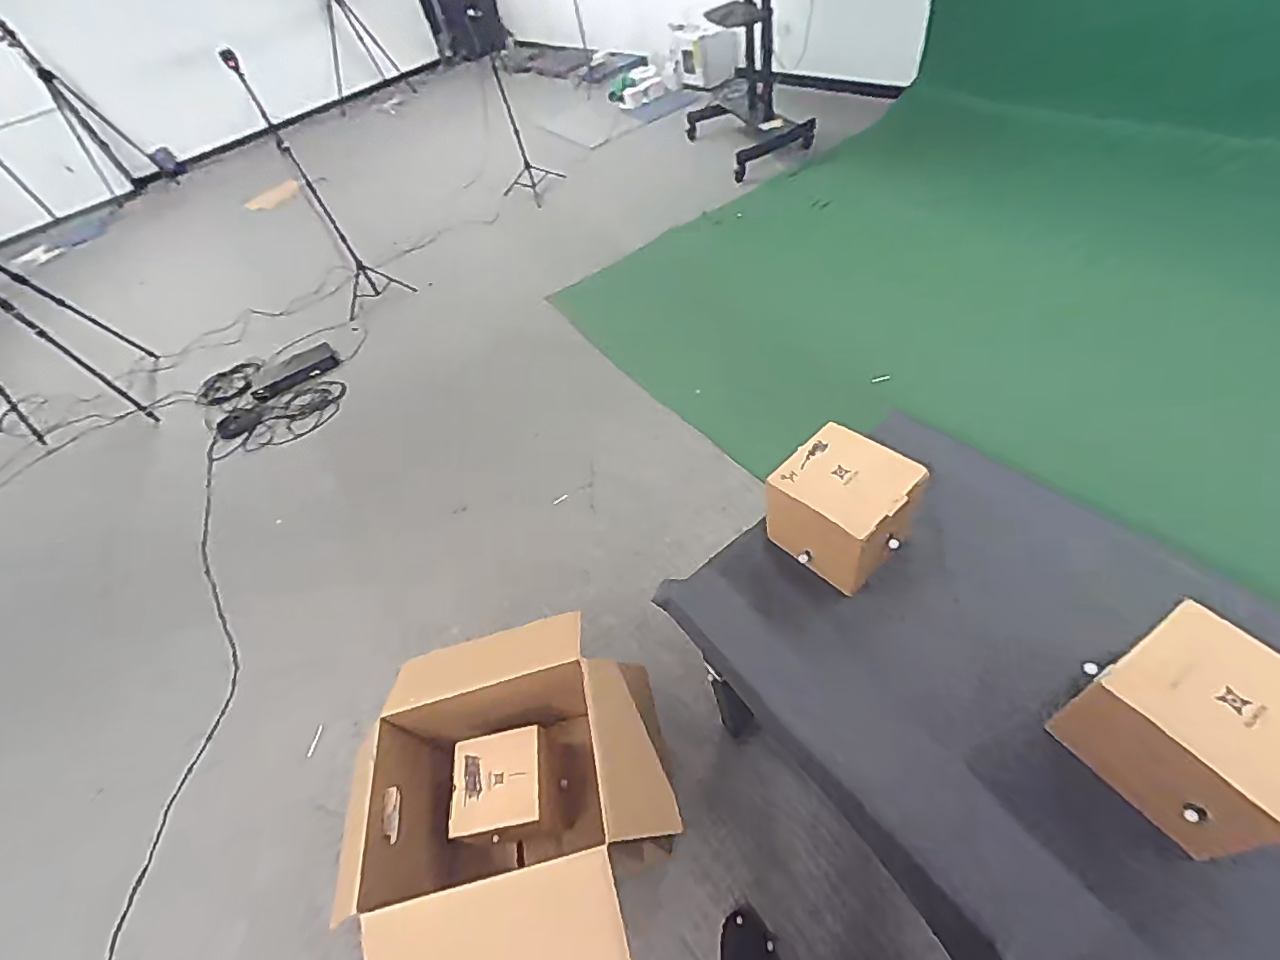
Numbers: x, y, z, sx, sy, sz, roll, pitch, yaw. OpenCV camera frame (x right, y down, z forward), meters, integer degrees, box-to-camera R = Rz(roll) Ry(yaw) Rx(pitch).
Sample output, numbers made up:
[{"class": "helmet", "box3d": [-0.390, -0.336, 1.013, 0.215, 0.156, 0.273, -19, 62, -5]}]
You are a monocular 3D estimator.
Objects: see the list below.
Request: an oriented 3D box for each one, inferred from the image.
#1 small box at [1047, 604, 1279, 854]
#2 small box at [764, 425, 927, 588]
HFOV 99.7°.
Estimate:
[{"class": "small box", "box3d": [0.615, 0.281, 0.603, 0.168, 0.176, 0.179, -31, 48, -14]}, {"class": "small box", "box3d": [0.323, 0.049, 0.877, 0.168, 0.176, 0.179, -38, 52, -18]}]
